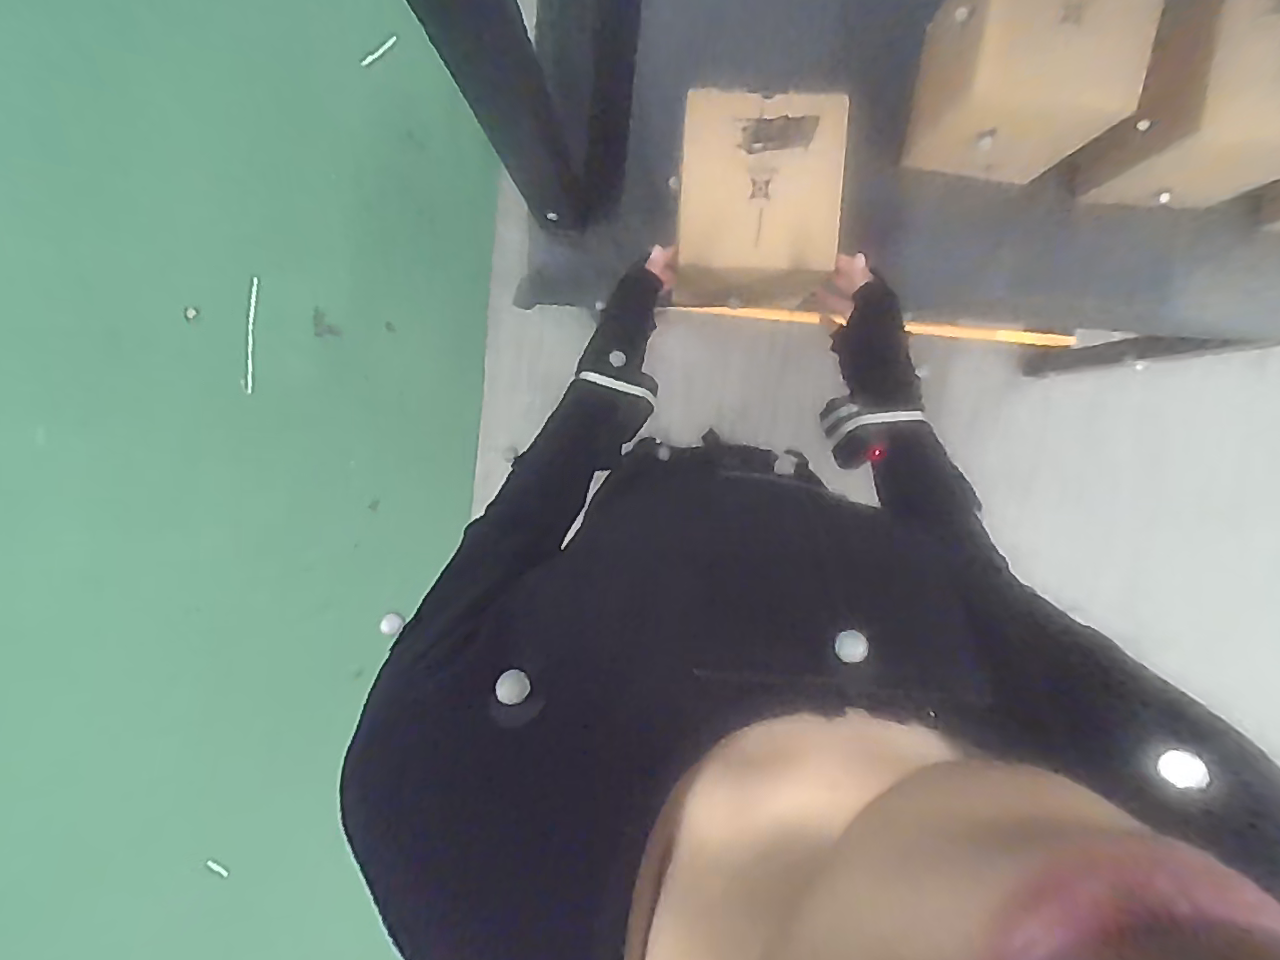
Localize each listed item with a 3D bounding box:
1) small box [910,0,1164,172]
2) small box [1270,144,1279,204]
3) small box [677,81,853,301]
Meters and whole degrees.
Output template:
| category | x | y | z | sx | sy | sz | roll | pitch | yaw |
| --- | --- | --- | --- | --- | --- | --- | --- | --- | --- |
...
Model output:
| category | x | y | z | sx | sy | sz | roll | pitch | yaw |
| --- | --- | --- | --- | --- | --- | --- | --- | --- | --- |
| small box | 0.431 | -0.479 | 0.609 | 0.168 | 0.176 | 0.179 | 9 | 96 | 1 |
| small box | 0.873 | -0.401 | 0.593 | 0.168 | 0.176 | 0.179 | 4 | 95 | 2 |
| small box | 0.131 | -0.321 | 0.634 | 0.168 | 0.176 | 0.179 | 3 | 97 | 2 |
